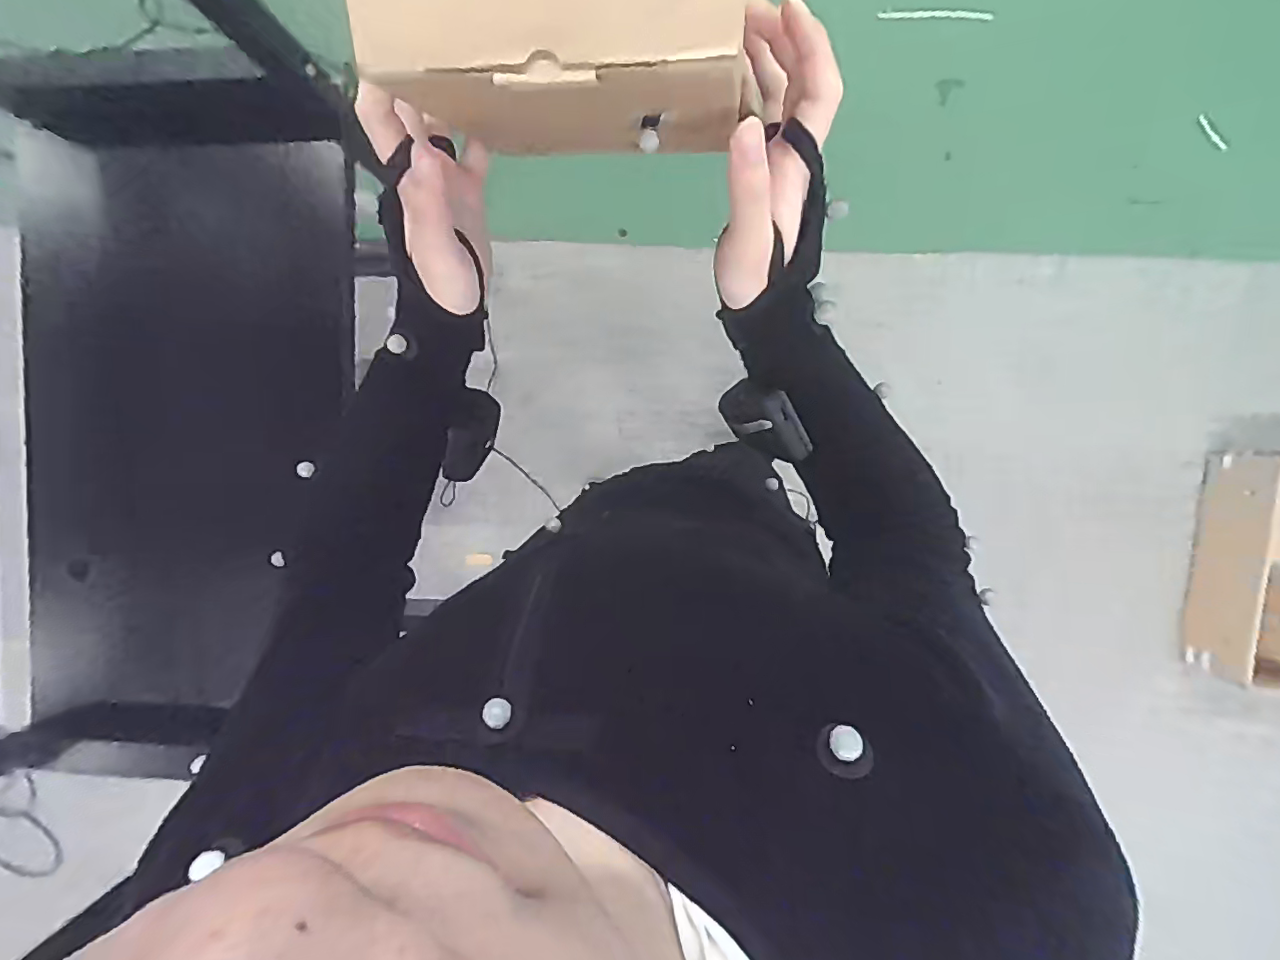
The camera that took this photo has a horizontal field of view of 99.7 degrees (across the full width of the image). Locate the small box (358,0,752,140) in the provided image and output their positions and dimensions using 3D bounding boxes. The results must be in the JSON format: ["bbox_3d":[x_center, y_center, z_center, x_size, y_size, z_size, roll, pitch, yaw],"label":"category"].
[{"bbox_3d":[-0.024,-0.284,0.267,0.168,0.176,0.179,4,111,7],"label":"small box"}]

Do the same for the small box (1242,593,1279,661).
[{"bbox_3d":[1.733,0.398,1.393,0.179,0.176,0.168,8,93,4],"label":"small box"}]
